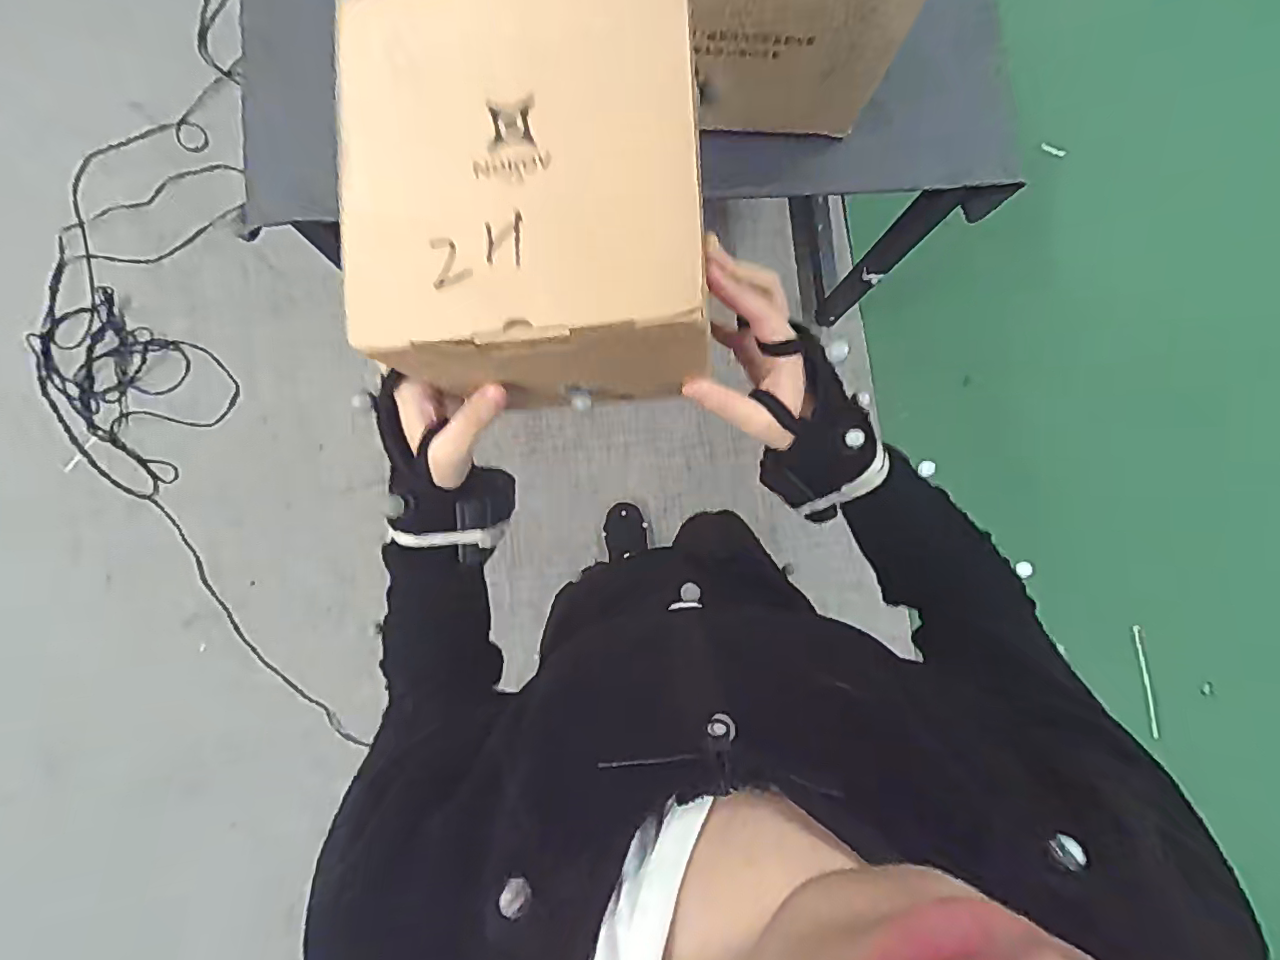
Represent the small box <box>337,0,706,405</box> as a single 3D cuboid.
[{"bbox_3d":[-0.047,-0.147,0.319,0.168,0.176,0.179,-2,90,8],"label":"small box"}]
